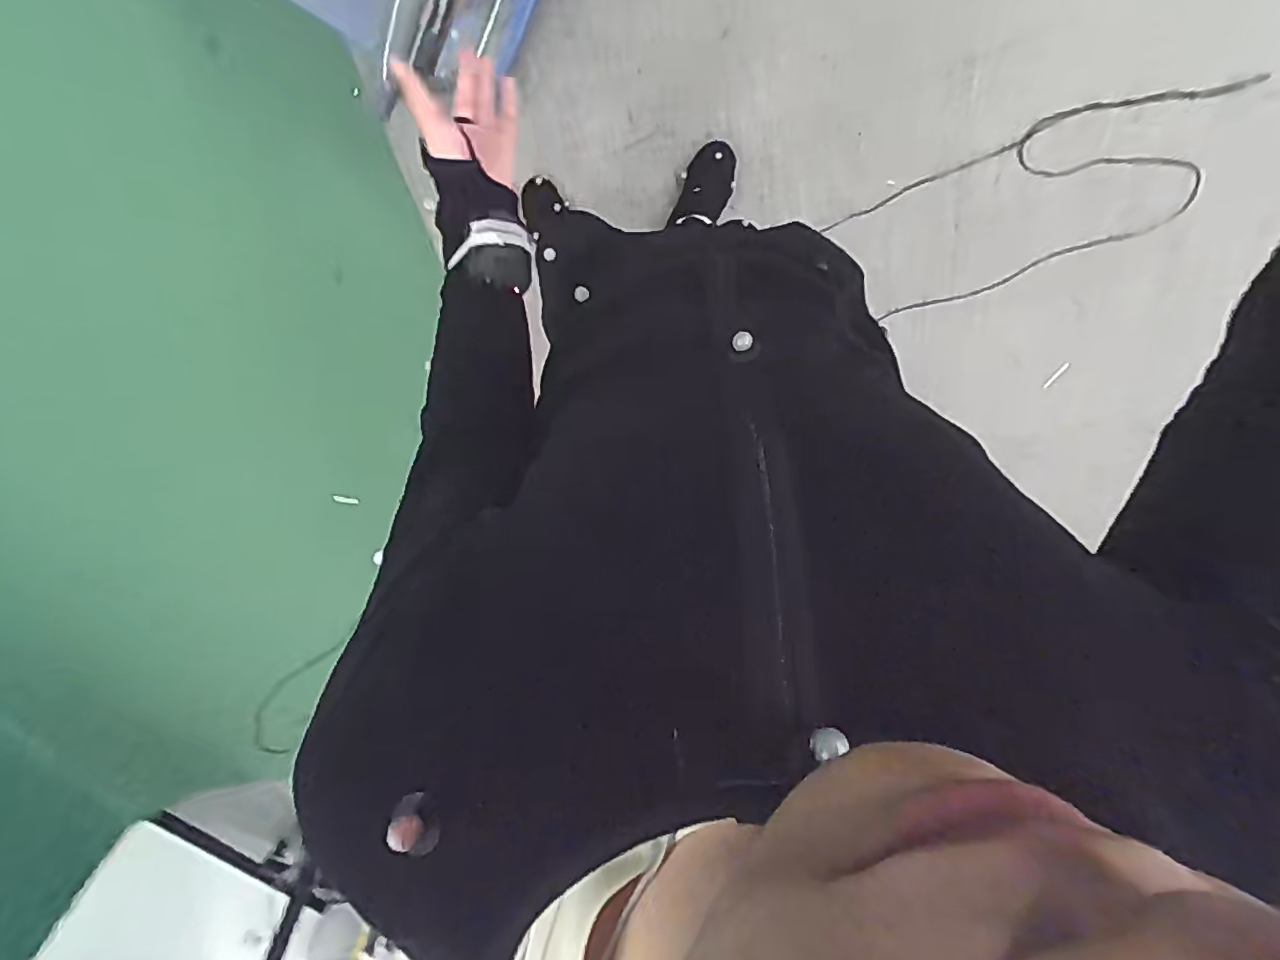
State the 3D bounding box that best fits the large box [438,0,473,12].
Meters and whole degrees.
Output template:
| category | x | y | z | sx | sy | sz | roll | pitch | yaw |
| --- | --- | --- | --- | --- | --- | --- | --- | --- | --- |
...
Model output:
| category | x | y | z | sx | sy | sz | roll | pitch | yaw |
| --- | --- | --- | --- | --- | --- | --- | --- | --- | --- |
| large box | -0.417 | -0.962 | 0.754 | 0.408 | 0.320 | 0.320 | 25 | 121 | -17 |
